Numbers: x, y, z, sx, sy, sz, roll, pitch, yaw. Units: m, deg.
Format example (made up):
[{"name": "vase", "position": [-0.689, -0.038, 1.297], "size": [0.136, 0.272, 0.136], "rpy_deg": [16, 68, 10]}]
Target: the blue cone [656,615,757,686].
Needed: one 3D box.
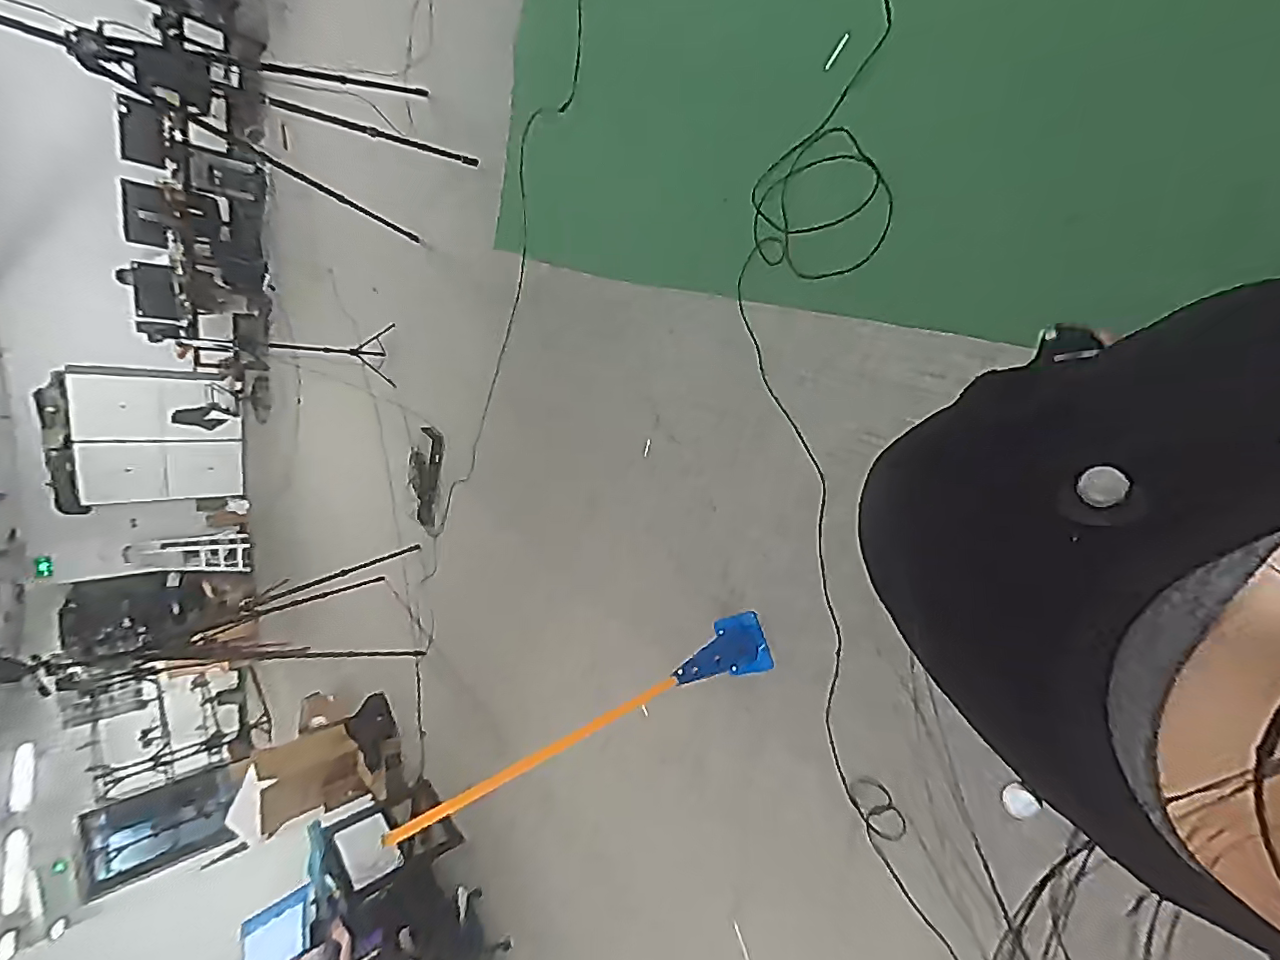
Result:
[{"name": "blue cone", "position": [0.194, 0.595, 1.761], "size": [0.193, 0.380, 0.192], "rpy_deg": [-33, 73, 43]}]
